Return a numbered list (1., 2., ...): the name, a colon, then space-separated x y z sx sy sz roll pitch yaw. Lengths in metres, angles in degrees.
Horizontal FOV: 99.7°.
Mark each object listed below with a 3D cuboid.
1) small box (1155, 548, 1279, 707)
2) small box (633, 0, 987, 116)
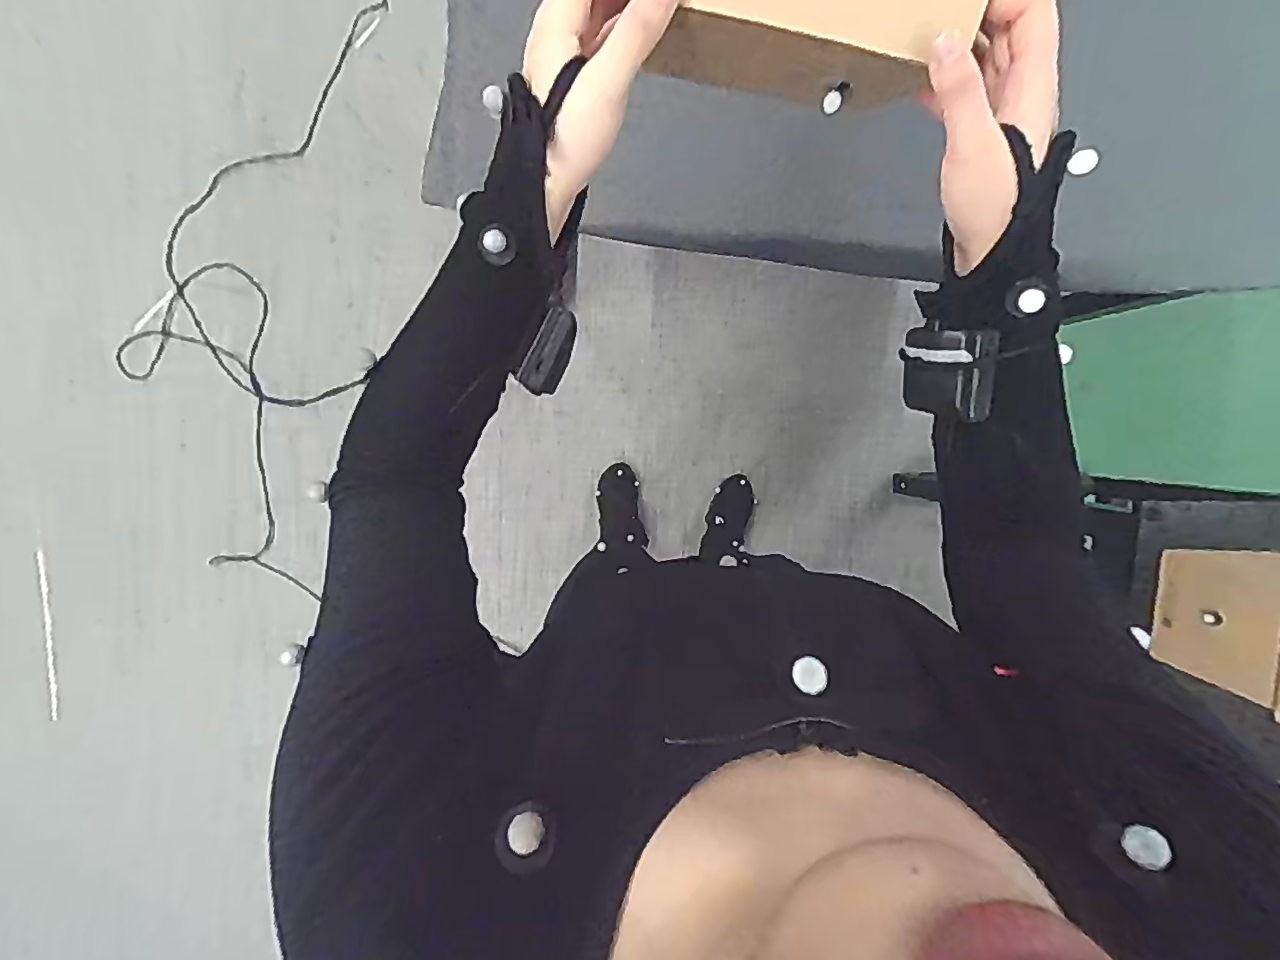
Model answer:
1. small box: 0.847 0.189 0.716 0.179 0.176 0.168 2 96 -3
2. small box: 0.094 -0.328 0.311 0.179 0.176 0.168 8 115 -3
